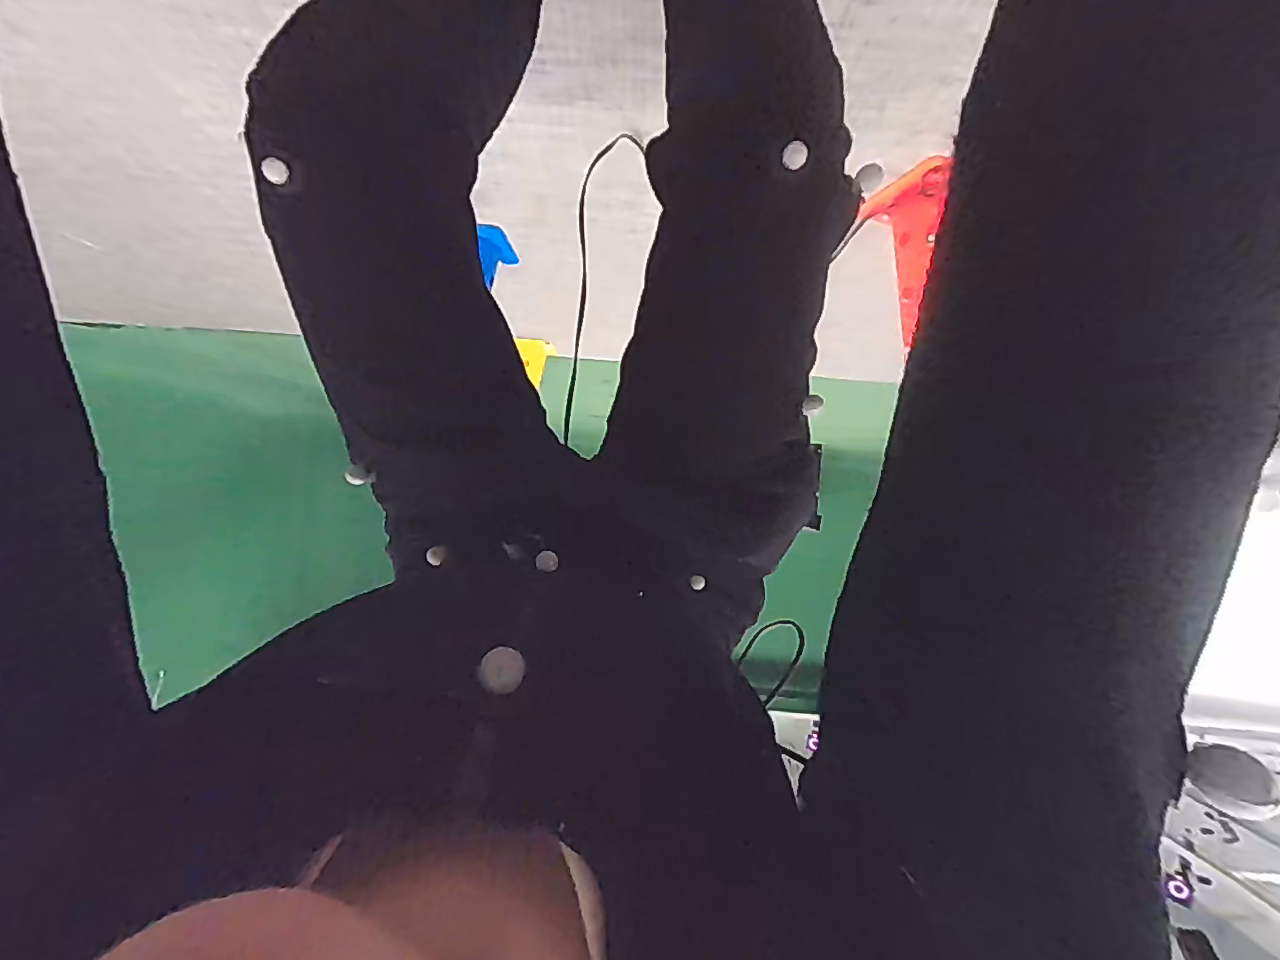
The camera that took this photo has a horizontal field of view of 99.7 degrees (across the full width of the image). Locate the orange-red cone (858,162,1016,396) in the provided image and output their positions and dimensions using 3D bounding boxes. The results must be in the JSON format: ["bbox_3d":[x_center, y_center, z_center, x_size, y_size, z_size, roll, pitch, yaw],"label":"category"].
[{"bbox_3d":[0.519,-0.332,0.973,0.199,0.360,0.198,4,179,-19],"label":"orange-red cone"}]

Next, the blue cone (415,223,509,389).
[{"bbox_3d":[-0.444,-0.413,1.326,0.192,0.380,0.193,5,177,1],"label":"blue cone"}]
